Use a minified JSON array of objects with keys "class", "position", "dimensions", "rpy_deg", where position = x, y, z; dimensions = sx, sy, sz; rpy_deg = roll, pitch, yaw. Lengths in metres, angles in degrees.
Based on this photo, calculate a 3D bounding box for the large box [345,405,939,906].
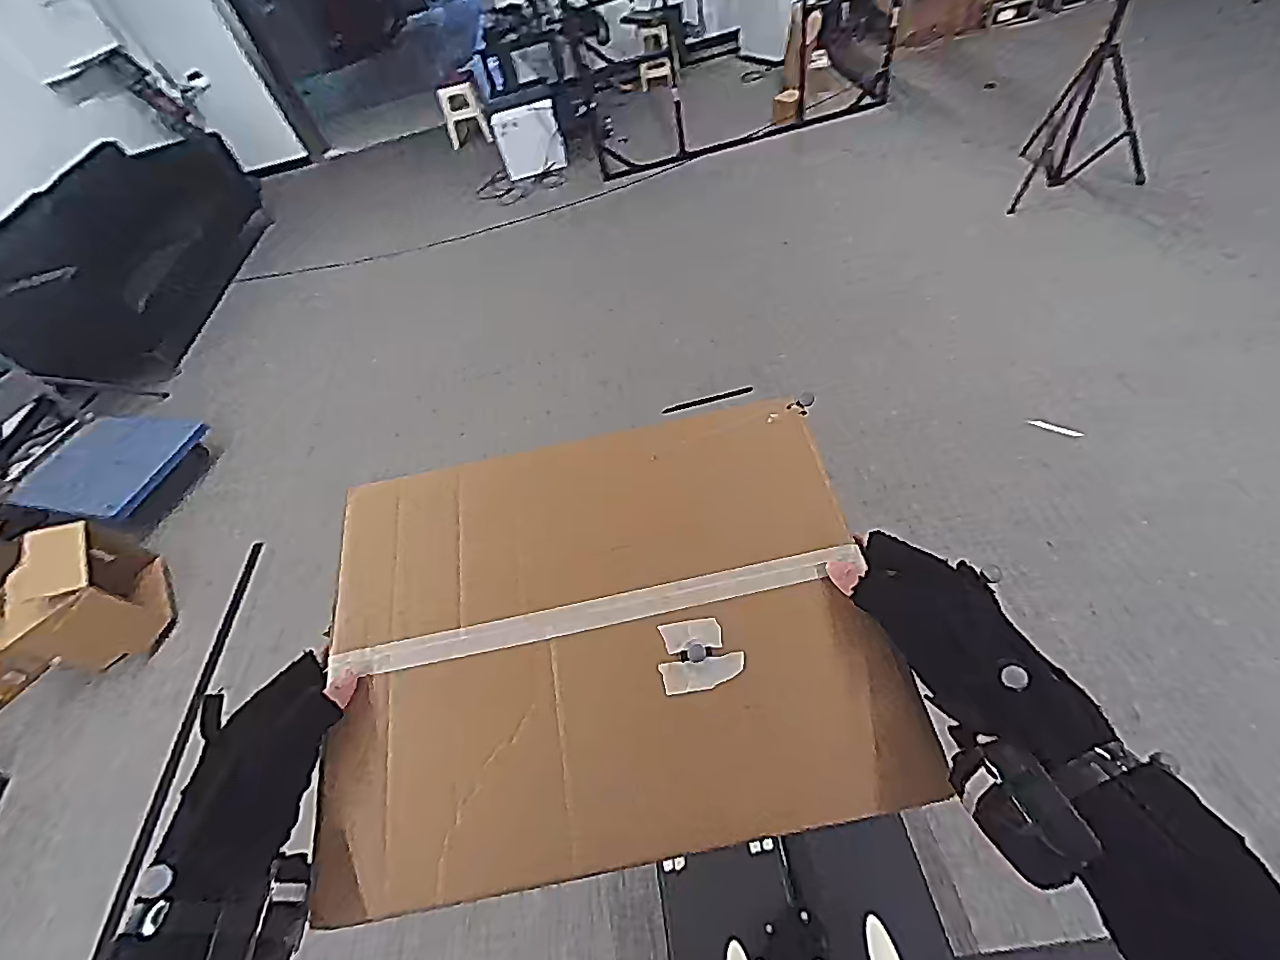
[{"class":"large box","position":[-0.011,0.173,0.549],"dimensions":[0.408,0.320,0.320],"rpy_deg":[-12,62,0]}]
